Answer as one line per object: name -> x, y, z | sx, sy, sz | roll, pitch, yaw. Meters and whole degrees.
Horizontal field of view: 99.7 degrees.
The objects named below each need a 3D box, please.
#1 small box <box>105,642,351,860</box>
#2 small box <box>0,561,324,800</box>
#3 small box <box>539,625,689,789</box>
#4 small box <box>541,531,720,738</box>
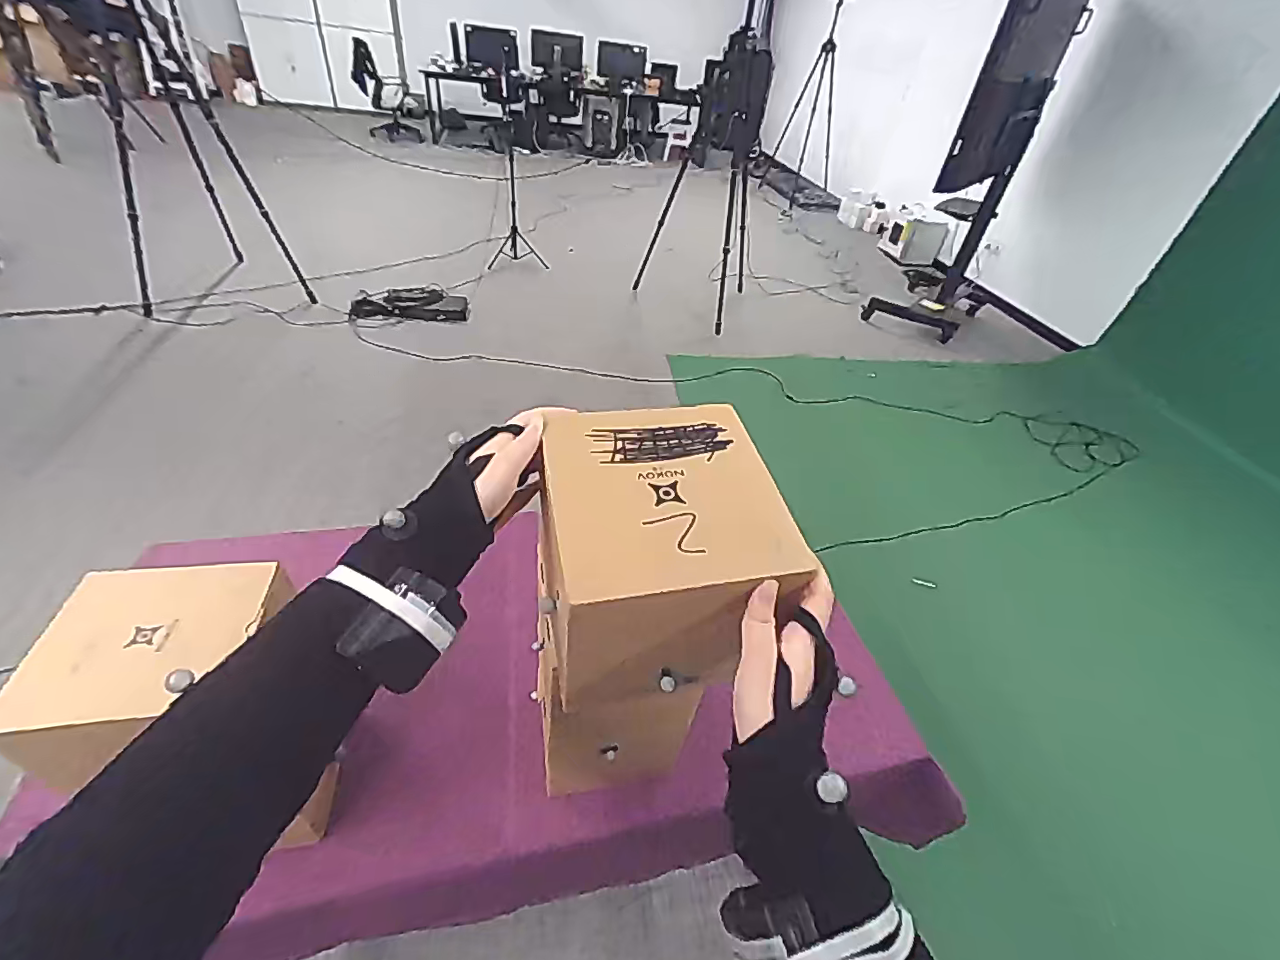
small box -> -0.471, 0.326, 0.659 | 0.168, 0.176, 0.179 | -3, 41, -11
small box -> -0.454, 0.202, 0.553 | 0.179, 0.176, 0.168 | -2, 42, -11
small box -> -0.045, 0.305, 0.751 | 0.179, 0.176, 0.168 | -3, 42, -13
small box -> -0.025, 0.182, 0.645 | 0.179, 0.176, 0.168 | -4, 43, -12
